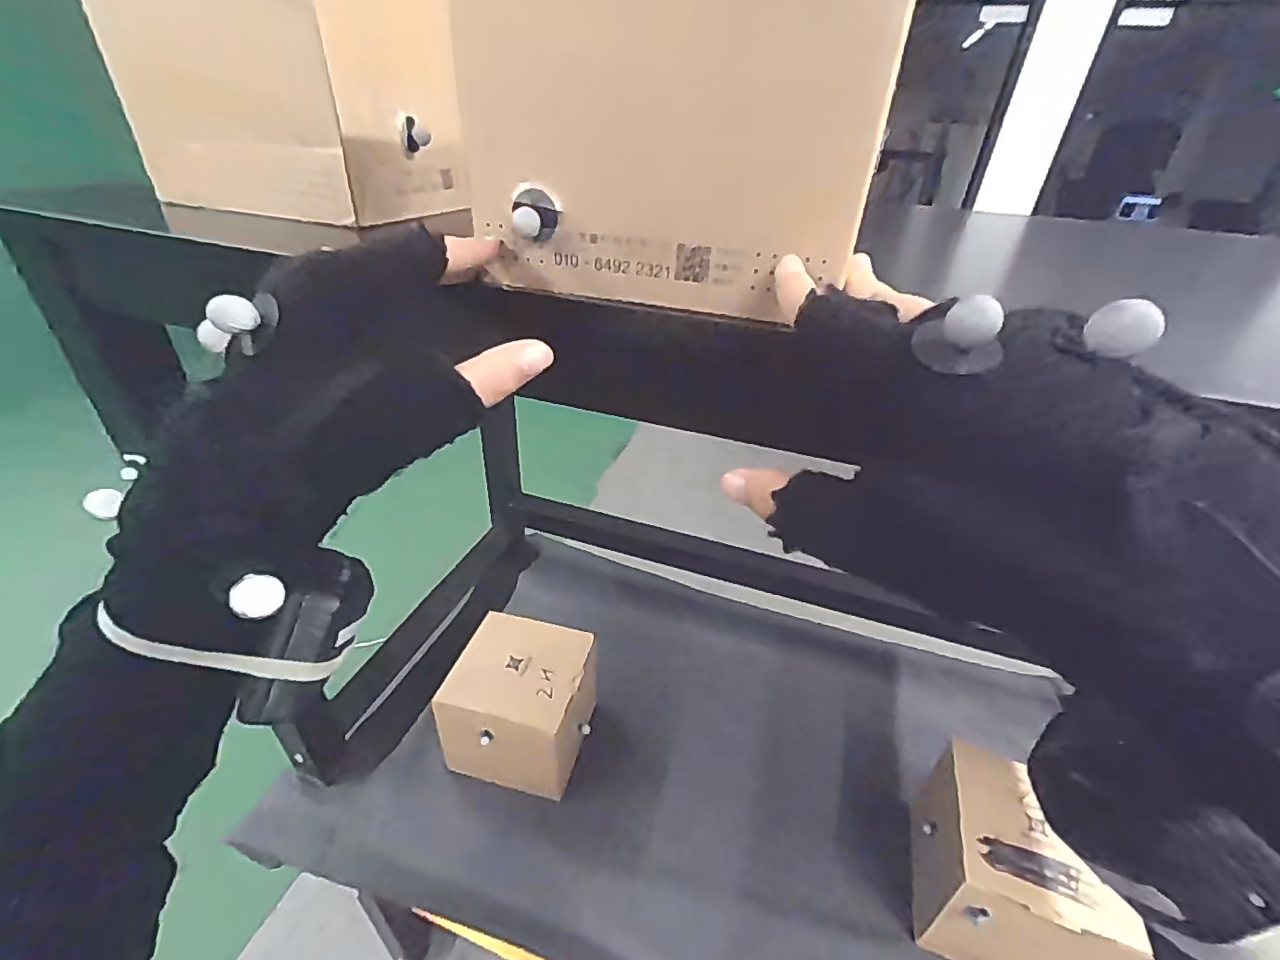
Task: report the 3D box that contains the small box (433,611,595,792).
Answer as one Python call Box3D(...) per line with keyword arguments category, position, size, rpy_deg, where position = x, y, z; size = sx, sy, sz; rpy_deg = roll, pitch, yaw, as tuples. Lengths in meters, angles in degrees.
Box3D(category="small box", position=(-0.174, 0.326, 0.801), size=(0.179, 0.176, 0.168), rpy_deg=(11, 34, 10))

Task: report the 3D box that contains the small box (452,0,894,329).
Box3D(category="small box", position=(0.027, -0.185, 0.270), size=(0.168, 0.176, 0.179), rpy_deg=(13, 34, 13))
